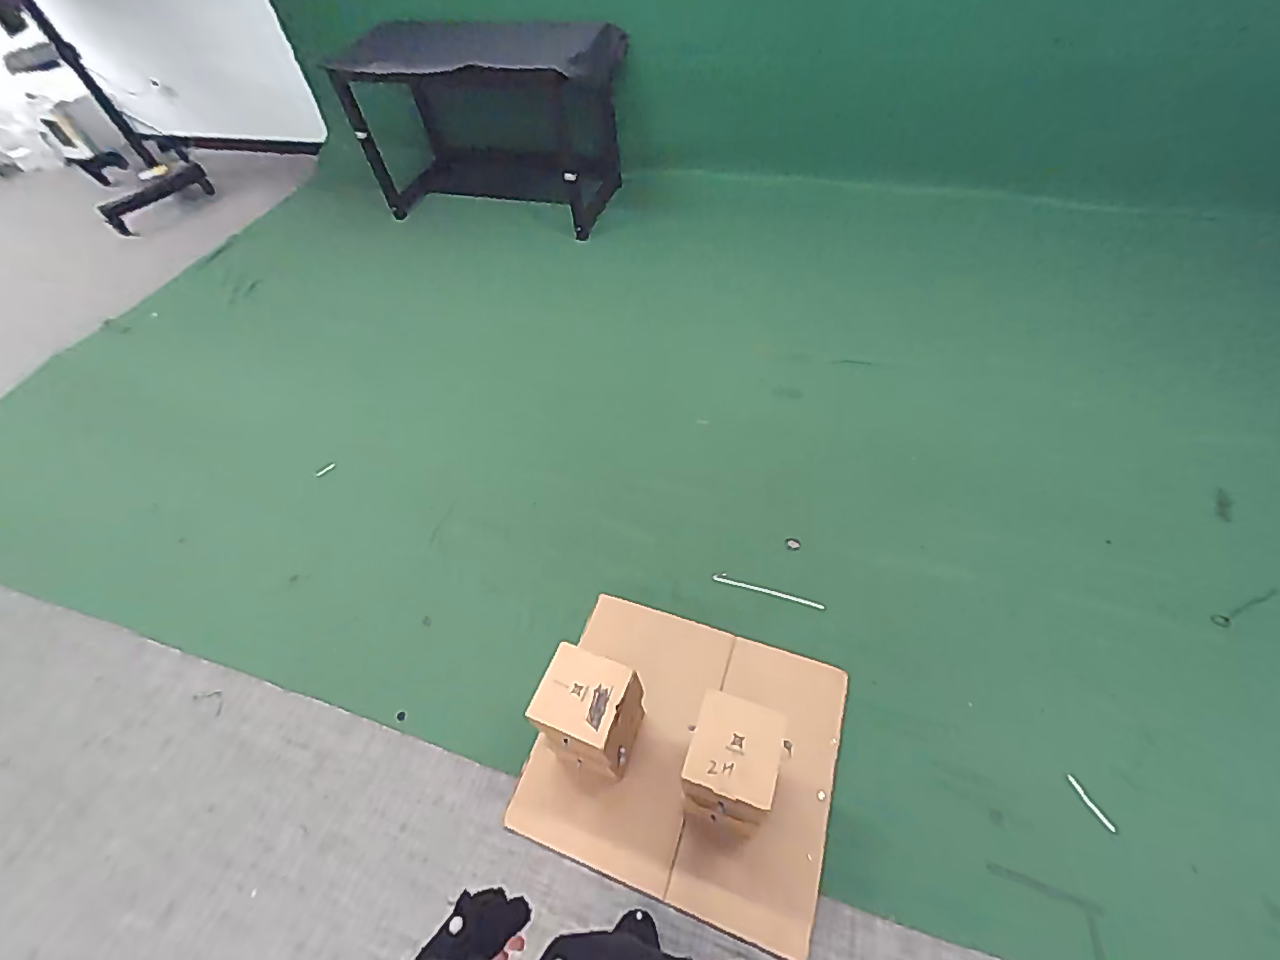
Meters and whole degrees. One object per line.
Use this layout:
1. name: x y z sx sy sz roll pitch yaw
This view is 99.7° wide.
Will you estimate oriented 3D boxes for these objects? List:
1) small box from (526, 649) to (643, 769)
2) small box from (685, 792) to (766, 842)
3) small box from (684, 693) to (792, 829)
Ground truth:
1. small box: -0.106 0.488 1.143 0.179 0.176 0.168 14 55 20
2. small box: 0.199 0.664 1.186 0.168 0.176 0.179 12 55 15
3. small box: 0.190 0.553 1.062 0.168 0.176 0.179 14 55 17
